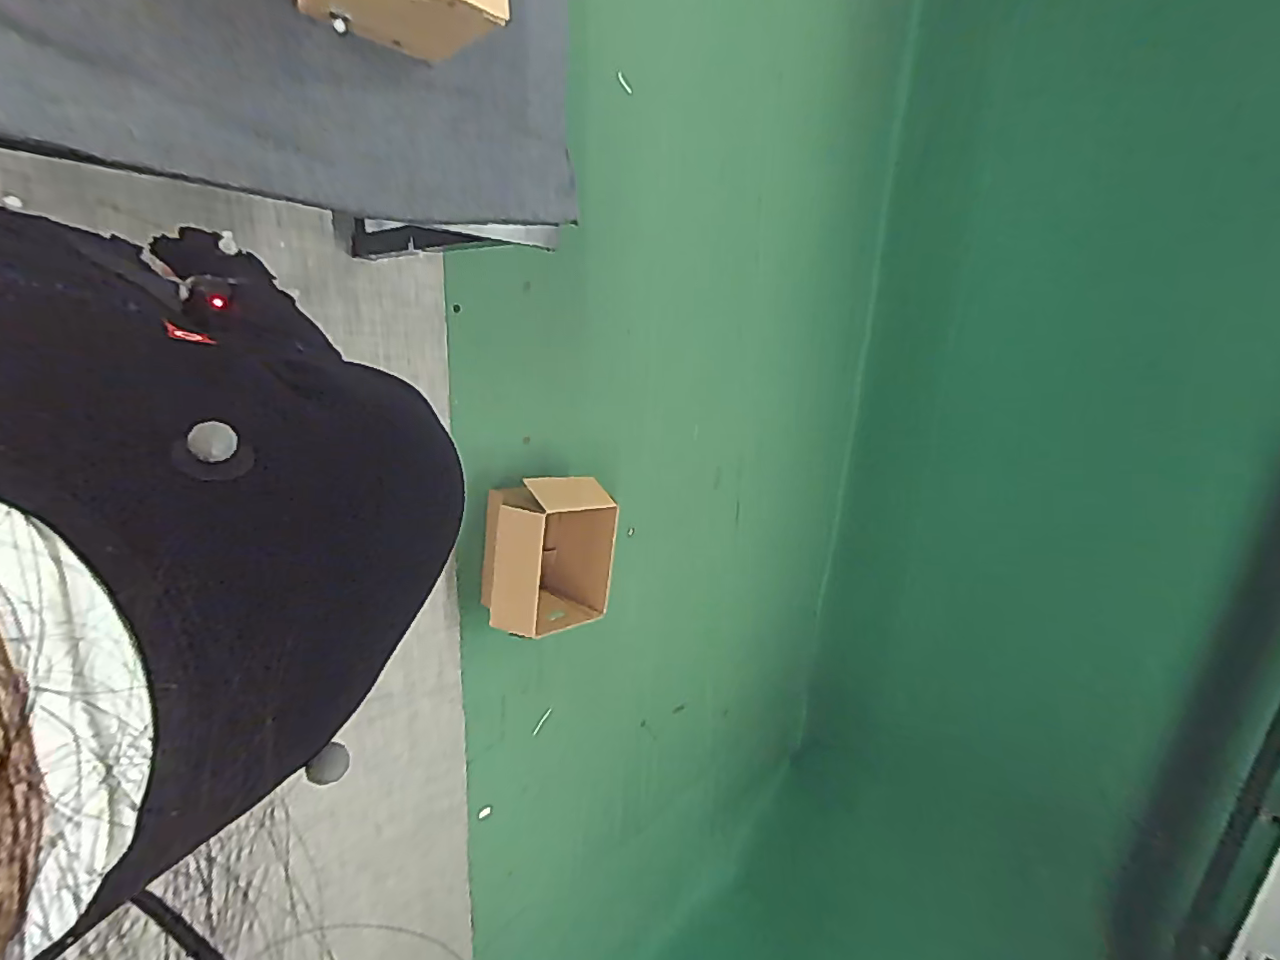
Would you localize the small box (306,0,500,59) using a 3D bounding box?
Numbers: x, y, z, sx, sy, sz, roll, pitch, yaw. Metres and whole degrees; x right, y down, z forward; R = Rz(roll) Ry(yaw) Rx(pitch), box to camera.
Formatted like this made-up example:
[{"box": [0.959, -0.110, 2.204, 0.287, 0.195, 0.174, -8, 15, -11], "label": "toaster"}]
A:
[{"box": [-0.269, -0.600, 0.584, 0.168, 0.176, 0.179, -16, 113, -46], "label": "small box"}]
